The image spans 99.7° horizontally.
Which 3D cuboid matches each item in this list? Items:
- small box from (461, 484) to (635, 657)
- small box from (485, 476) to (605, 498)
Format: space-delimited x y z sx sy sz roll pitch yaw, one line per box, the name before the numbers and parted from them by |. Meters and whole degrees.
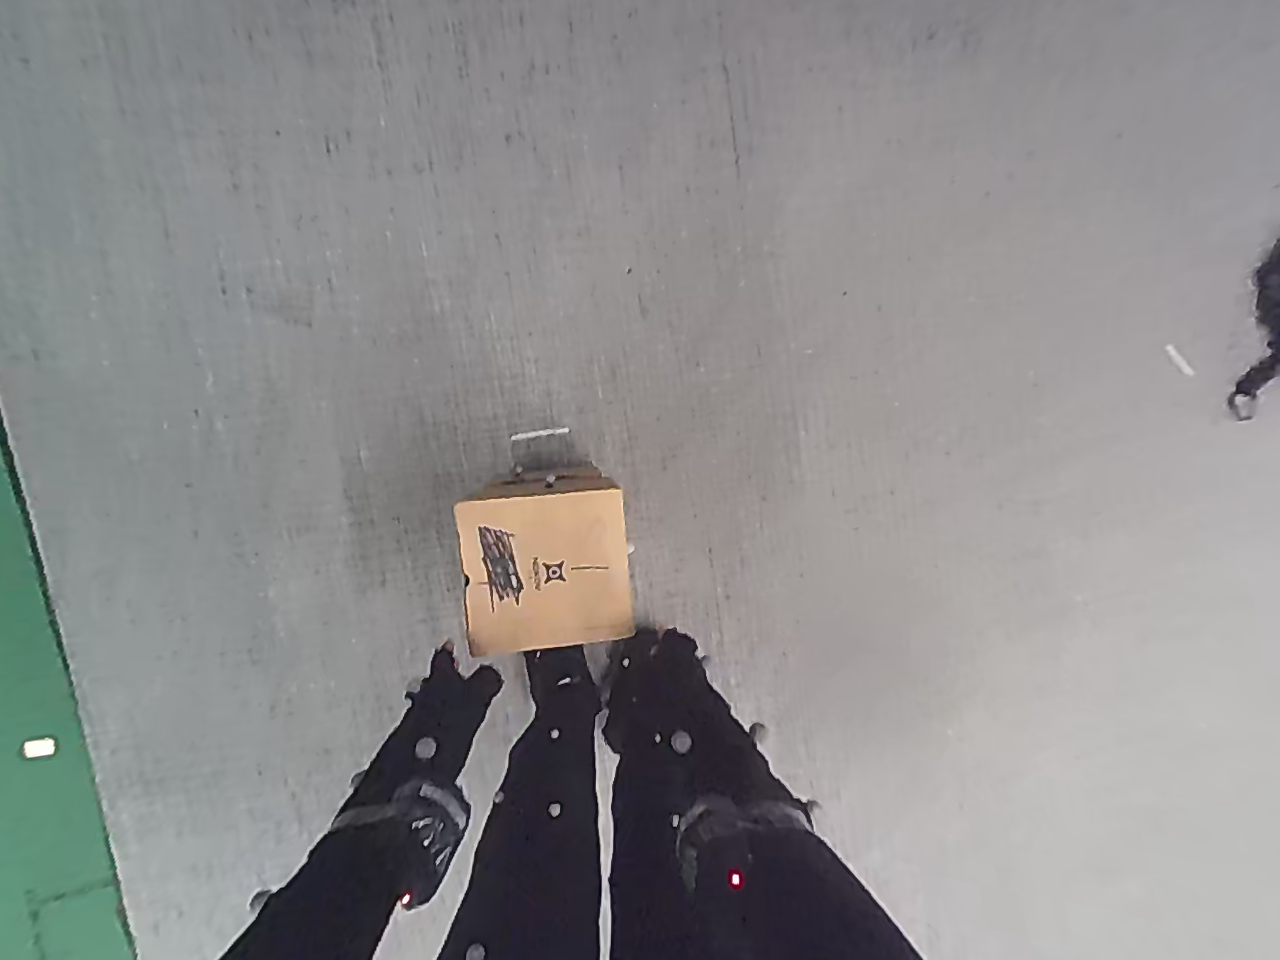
small box | -0.104 0.097 0.656 0.179 0.176 0.168 -5 95 -6
small box | -0.130 0.087 0.818 0.168 0.176 0.179 -6 95 -5
